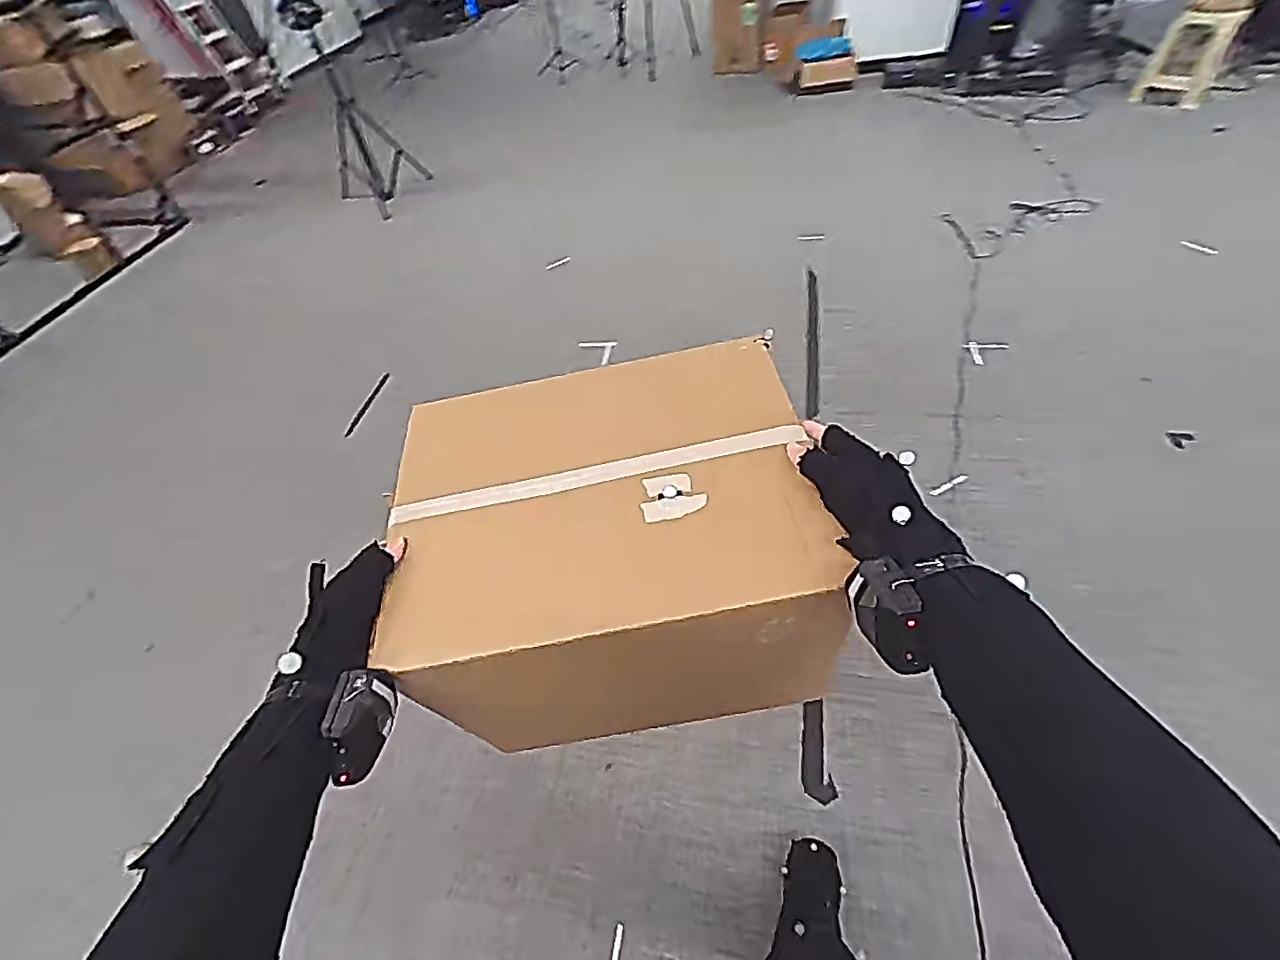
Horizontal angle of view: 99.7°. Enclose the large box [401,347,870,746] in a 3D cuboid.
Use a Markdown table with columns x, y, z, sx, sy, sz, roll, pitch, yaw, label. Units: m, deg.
| x | y | z | sx | sy | sz | roll | pitch | yaw | label |
| --- | --- | --- | --- | --- | --- | --- | --- | --- | --- |
| -0.006 | 0.091 | 0.650 | 0.408 | 0.320 | 0.320 | -10 | 52 | 2 | large box |
